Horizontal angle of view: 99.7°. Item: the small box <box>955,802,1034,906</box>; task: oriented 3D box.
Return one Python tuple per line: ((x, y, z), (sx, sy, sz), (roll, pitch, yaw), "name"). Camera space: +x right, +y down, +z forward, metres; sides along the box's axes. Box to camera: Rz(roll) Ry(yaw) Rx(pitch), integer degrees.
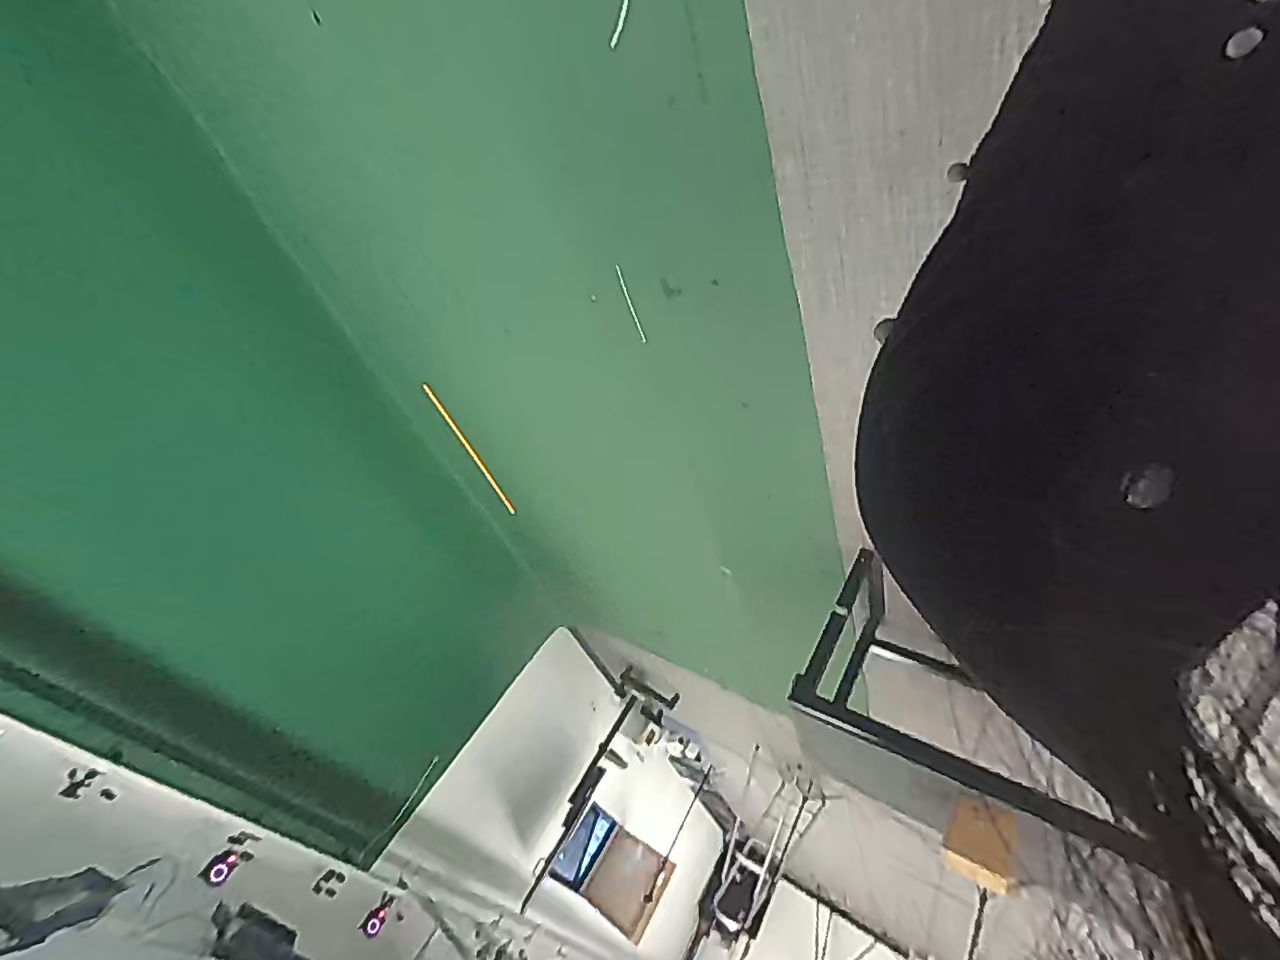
((1.029, 1.081, 1.571), (0.168, 0.176, 0.179), (10, 140, 40), "small box")
